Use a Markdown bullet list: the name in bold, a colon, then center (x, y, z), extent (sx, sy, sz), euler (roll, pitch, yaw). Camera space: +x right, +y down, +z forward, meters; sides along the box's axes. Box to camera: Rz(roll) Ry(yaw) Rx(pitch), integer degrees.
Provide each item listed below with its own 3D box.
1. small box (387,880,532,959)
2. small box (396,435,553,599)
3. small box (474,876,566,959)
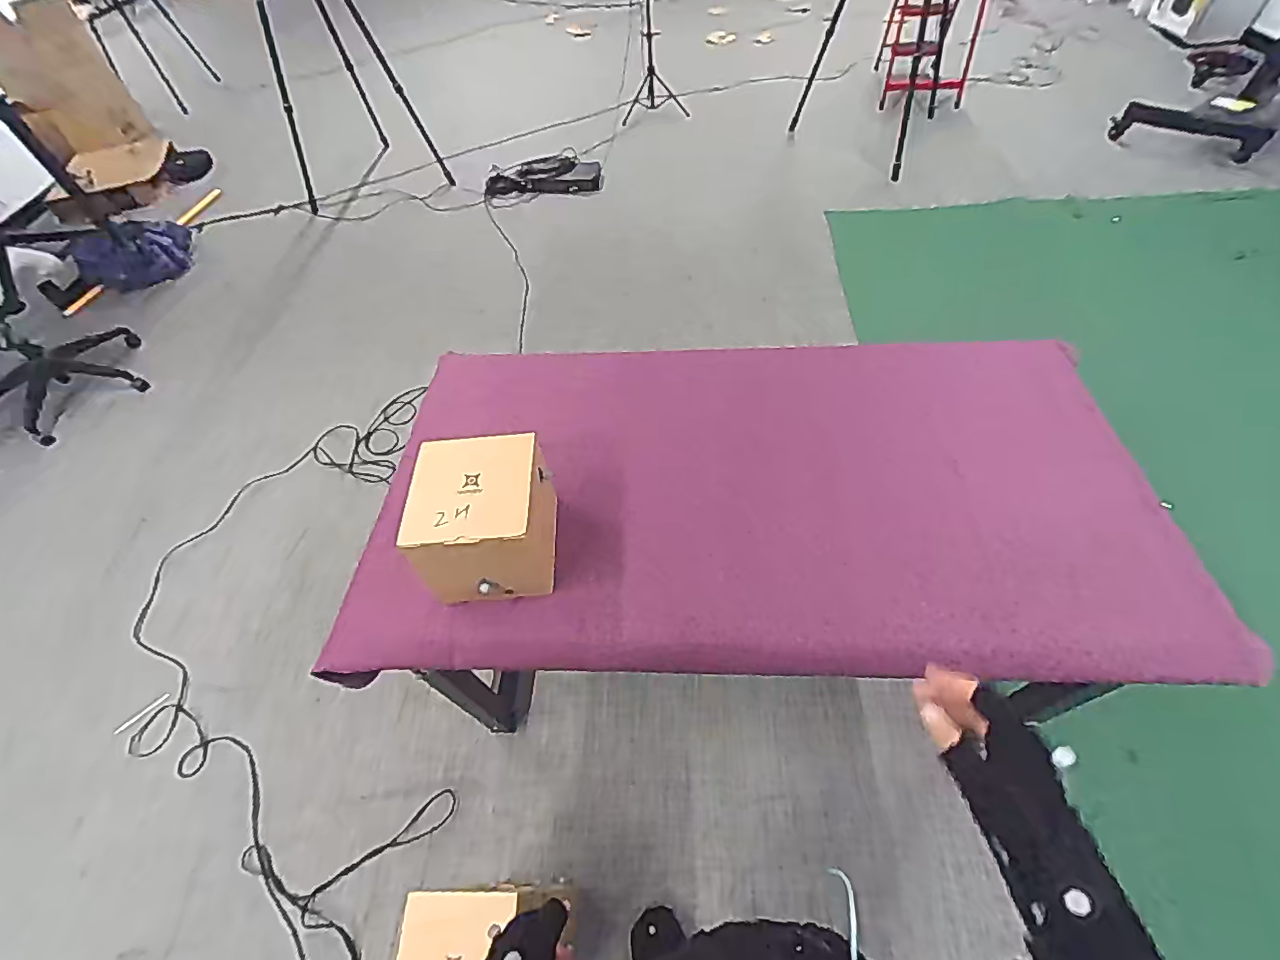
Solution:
- **small box**: center (-0.265, 0.709, 0.807), extent (0.168, 0.176, 0.179), euler (-1, 56, 3)
- **small box**: center (-0.224, 0.056, 0.788), extent (0.168, 0.176, 0.179), euler (-4, 53, 1)
- **small box**: center (-0.248, 0.901, 1.073), extent (0.168, 0.176, 0.179), euler (1, 55, 5)
